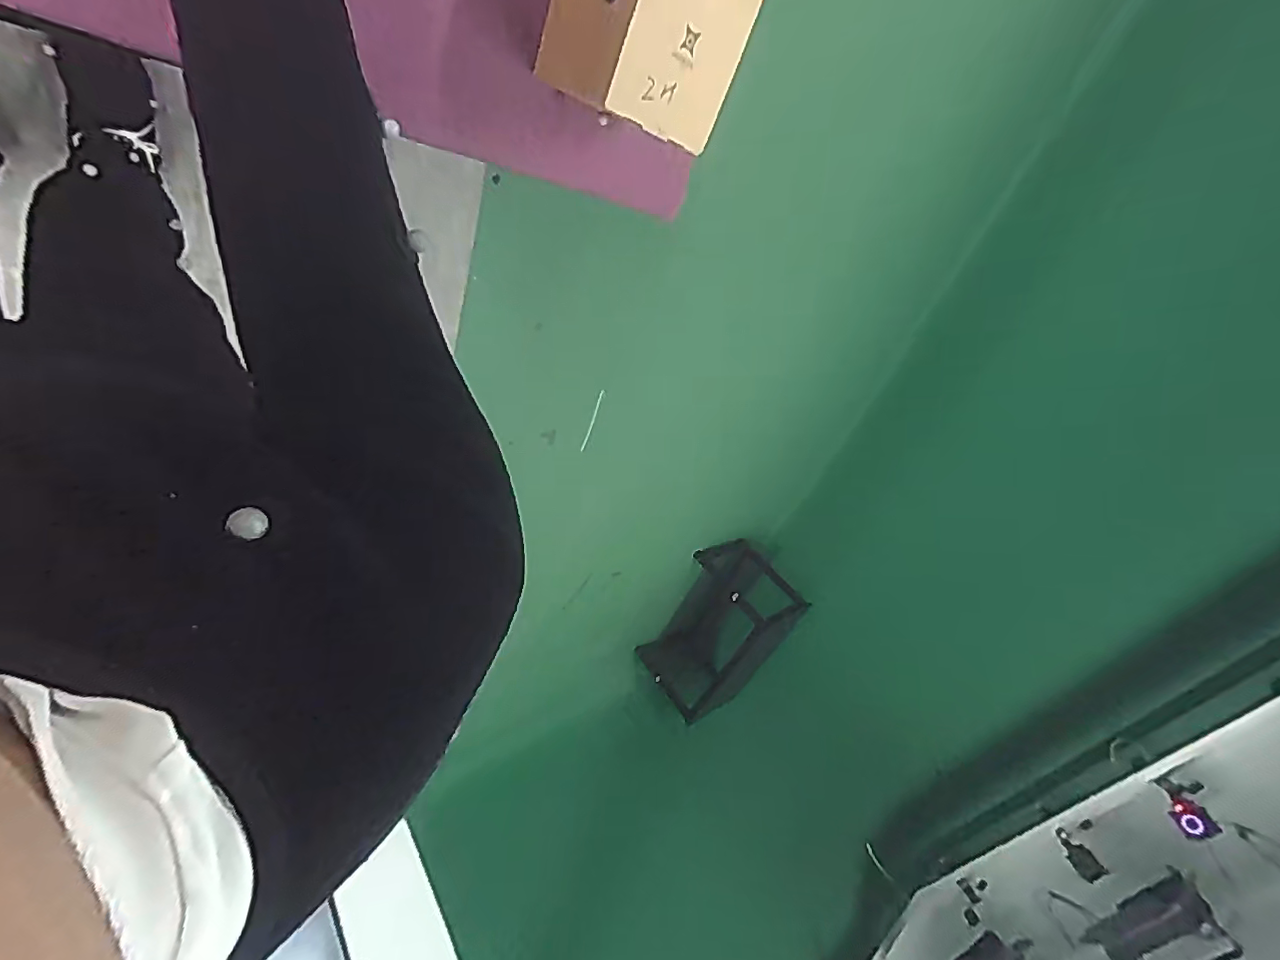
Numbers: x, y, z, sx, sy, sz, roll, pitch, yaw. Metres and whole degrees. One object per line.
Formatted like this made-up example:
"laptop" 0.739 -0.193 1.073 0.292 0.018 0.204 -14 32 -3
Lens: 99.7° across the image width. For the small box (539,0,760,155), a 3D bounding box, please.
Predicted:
"small box" 0.002 -0.534 0.648 0.168 0.176 0.179 -6 133 -44
